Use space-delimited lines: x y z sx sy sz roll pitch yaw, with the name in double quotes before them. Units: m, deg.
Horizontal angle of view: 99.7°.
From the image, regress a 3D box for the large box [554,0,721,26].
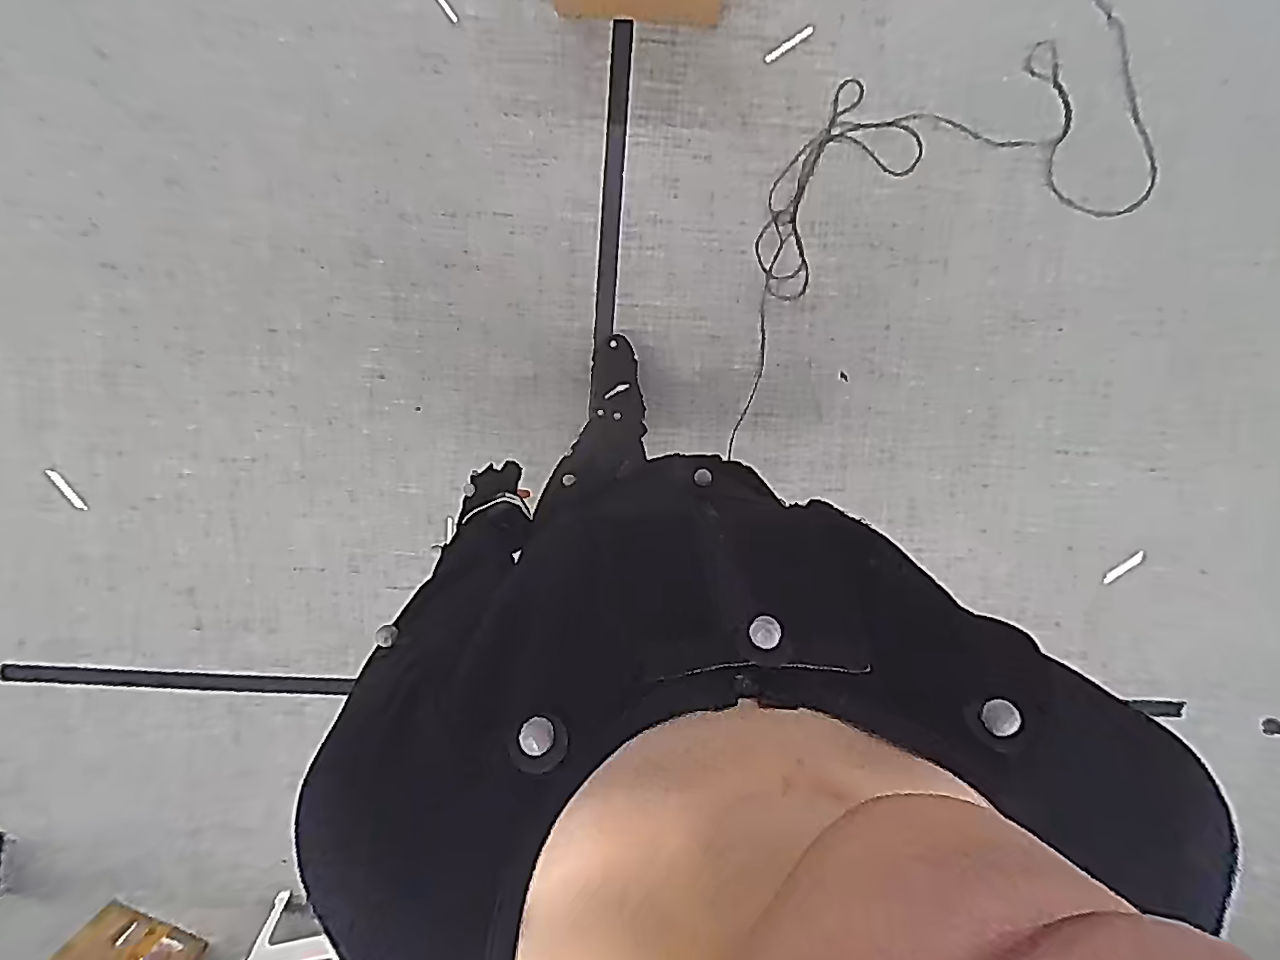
"large box" -0.002 -1.267 1.178 0.408 0.320 0.320 2 97 -2
